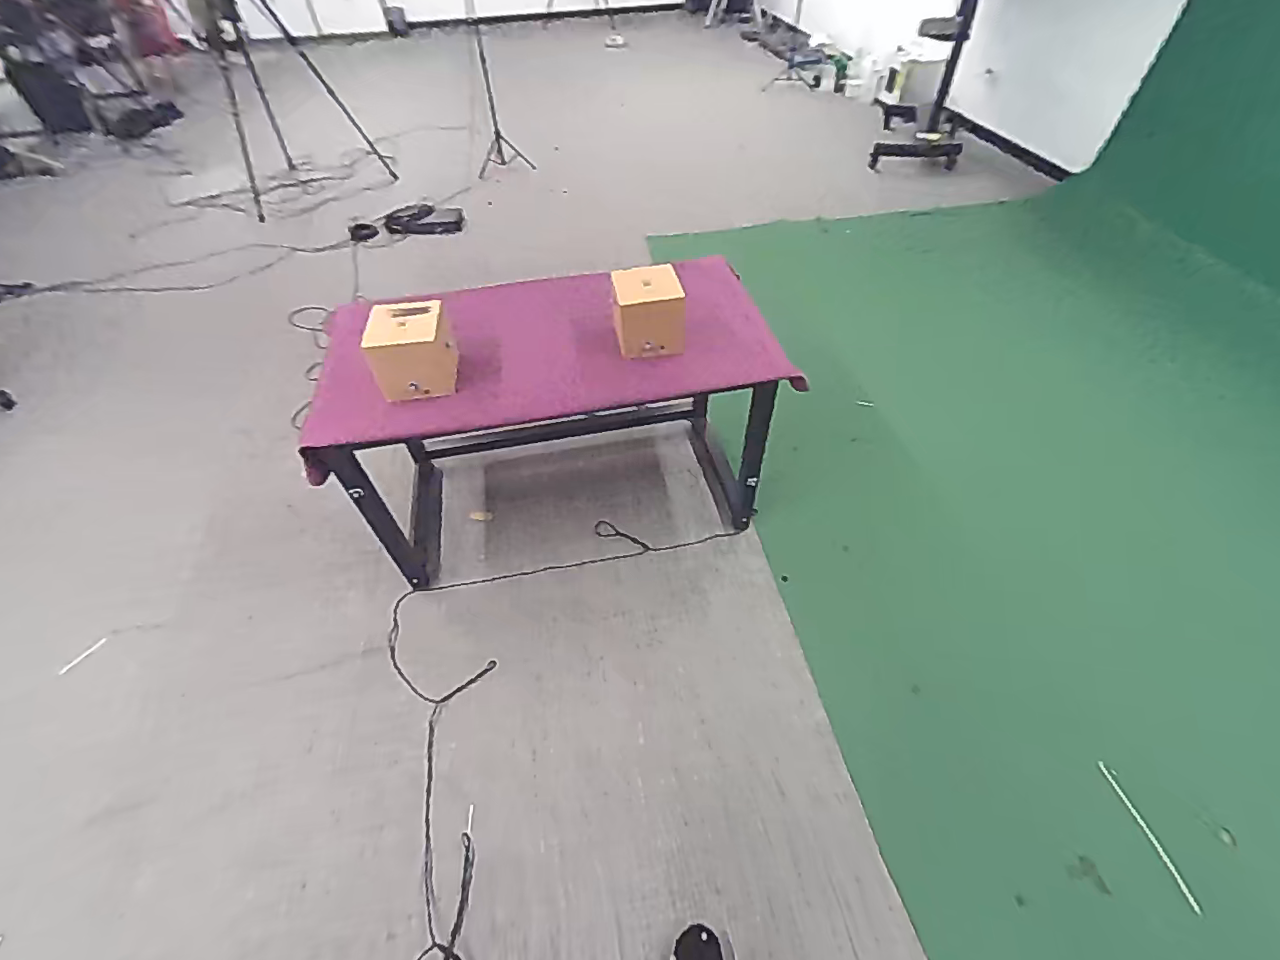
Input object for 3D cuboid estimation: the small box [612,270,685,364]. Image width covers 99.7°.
[{"bbox_3d":[0.020,-0.432,1.433,0.168,0.176,0.179,-9,48,-4],"label":"small box"}]
